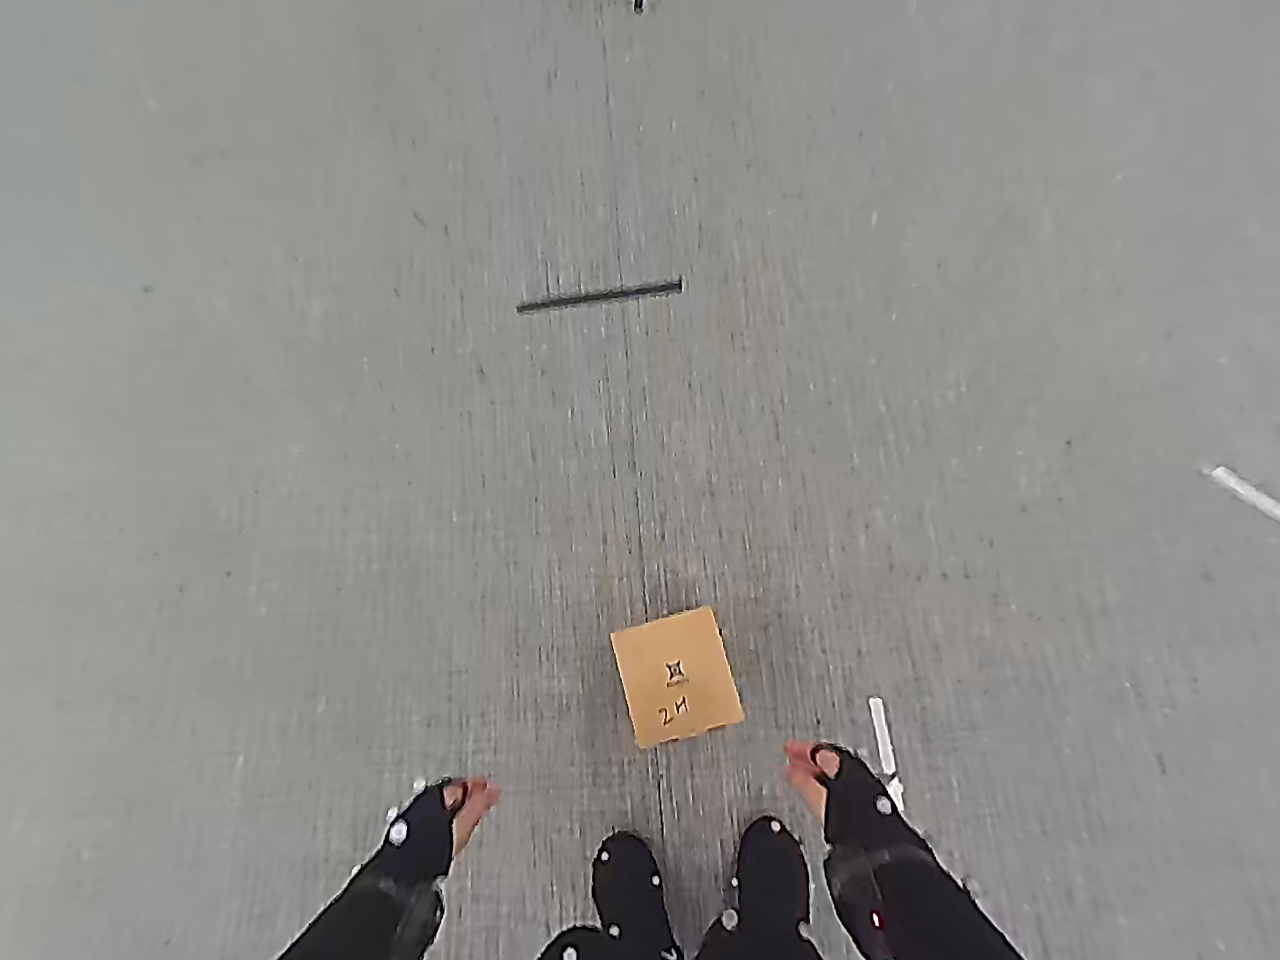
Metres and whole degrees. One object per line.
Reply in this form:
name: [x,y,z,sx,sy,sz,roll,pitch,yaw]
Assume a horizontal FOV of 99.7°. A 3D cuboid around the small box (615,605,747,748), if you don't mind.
small box: [0.065,0.317,0.895,0.168,0.176,0.179,-17,74,2]
